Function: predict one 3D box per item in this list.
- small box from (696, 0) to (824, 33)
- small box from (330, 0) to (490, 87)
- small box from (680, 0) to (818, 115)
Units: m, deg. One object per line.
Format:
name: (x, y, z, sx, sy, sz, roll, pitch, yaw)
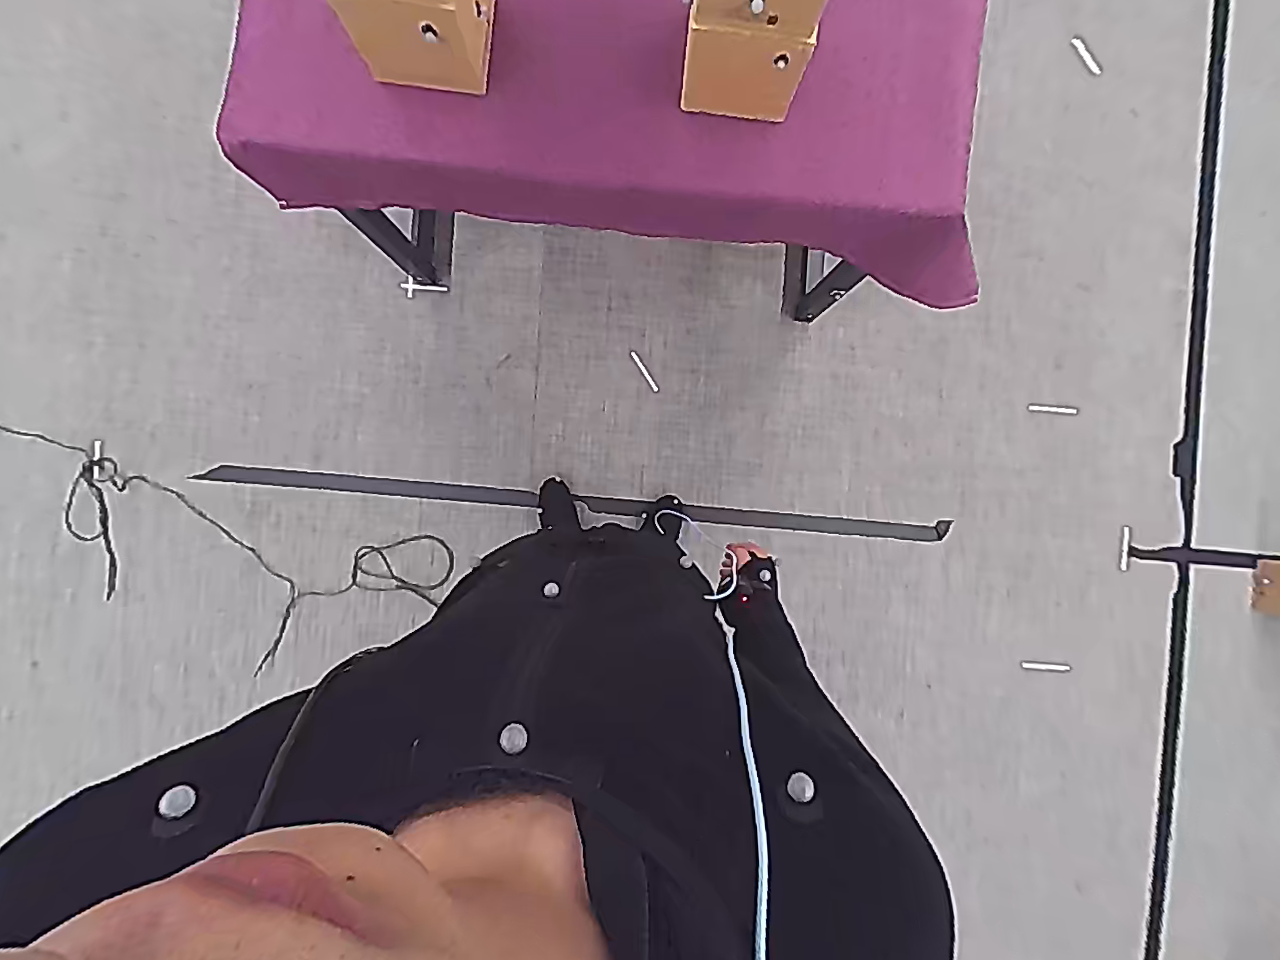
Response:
small box: (0.164, -0.698, 0.650, 0.168, 0.176, 0.179, 6, 91, -2)
small box: (-0.328, -0.721, 0.794, 0.179, 0.176, 0.168, 6, 91, -2)
small box: (0.159, -0.689, 0.814, 0.179, 0.176, 0.168, 6, 90, -2)
